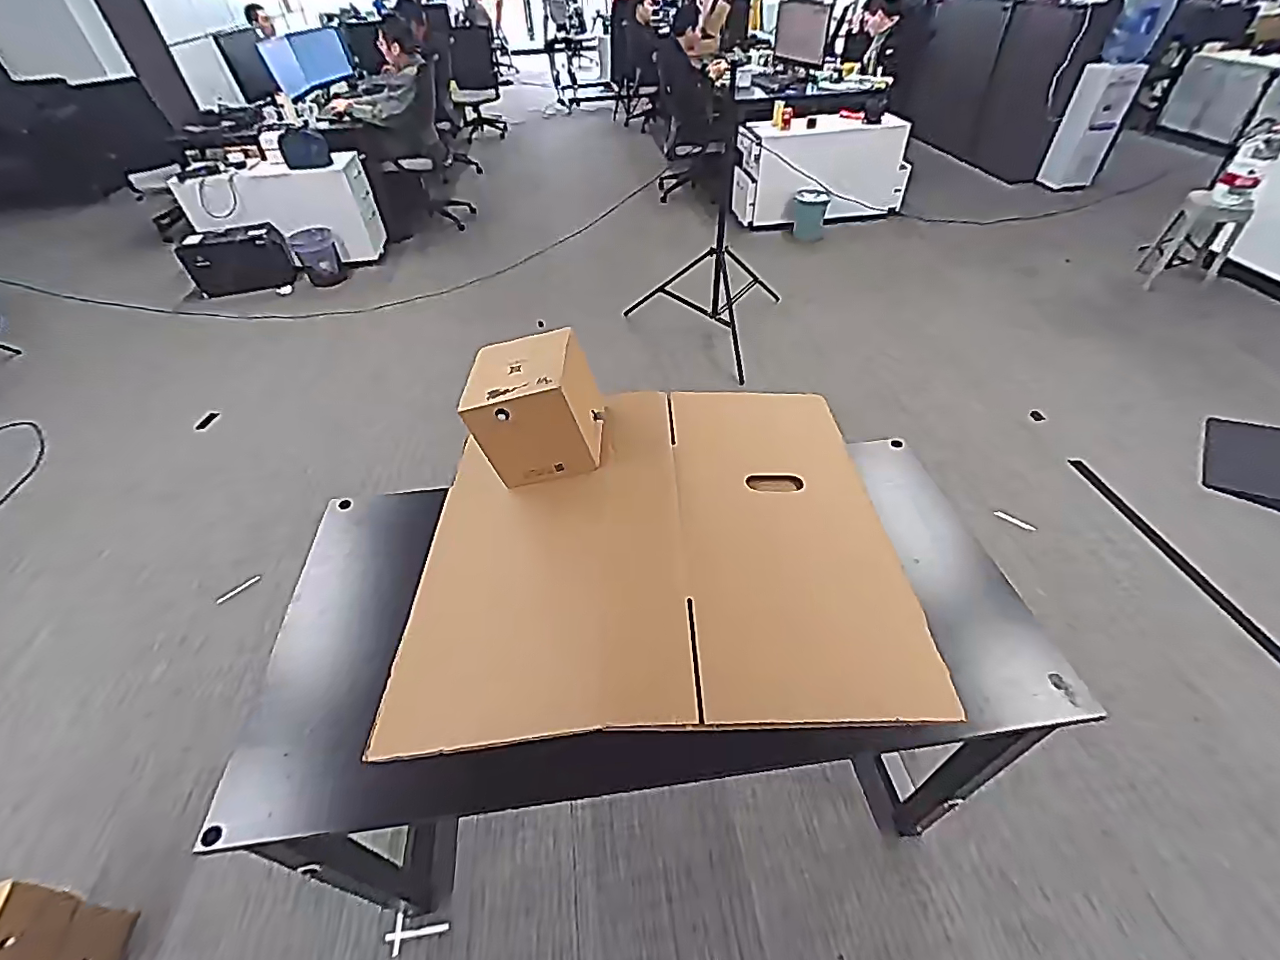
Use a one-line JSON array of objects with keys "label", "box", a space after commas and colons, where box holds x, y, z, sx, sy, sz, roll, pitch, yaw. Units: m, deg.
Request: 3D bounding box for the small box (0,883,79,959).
[{"label": "small box", "box": [-1.197, 0.873, 0.980, 0.168, 0.176, 0.179, -11, 43, -9]}]

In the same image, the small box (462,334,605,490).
[{"label": "small box", "box": [-0.162, -0.111, 0.895, 0.168, 0.176, 0.179, -12, 42, 12]}]

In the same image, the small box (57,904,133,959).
[{"label": "small box", "box": [-1.189, 0.993, 1.089, 0.168, 0.176, 0.179, -9, 45, -6]}]
